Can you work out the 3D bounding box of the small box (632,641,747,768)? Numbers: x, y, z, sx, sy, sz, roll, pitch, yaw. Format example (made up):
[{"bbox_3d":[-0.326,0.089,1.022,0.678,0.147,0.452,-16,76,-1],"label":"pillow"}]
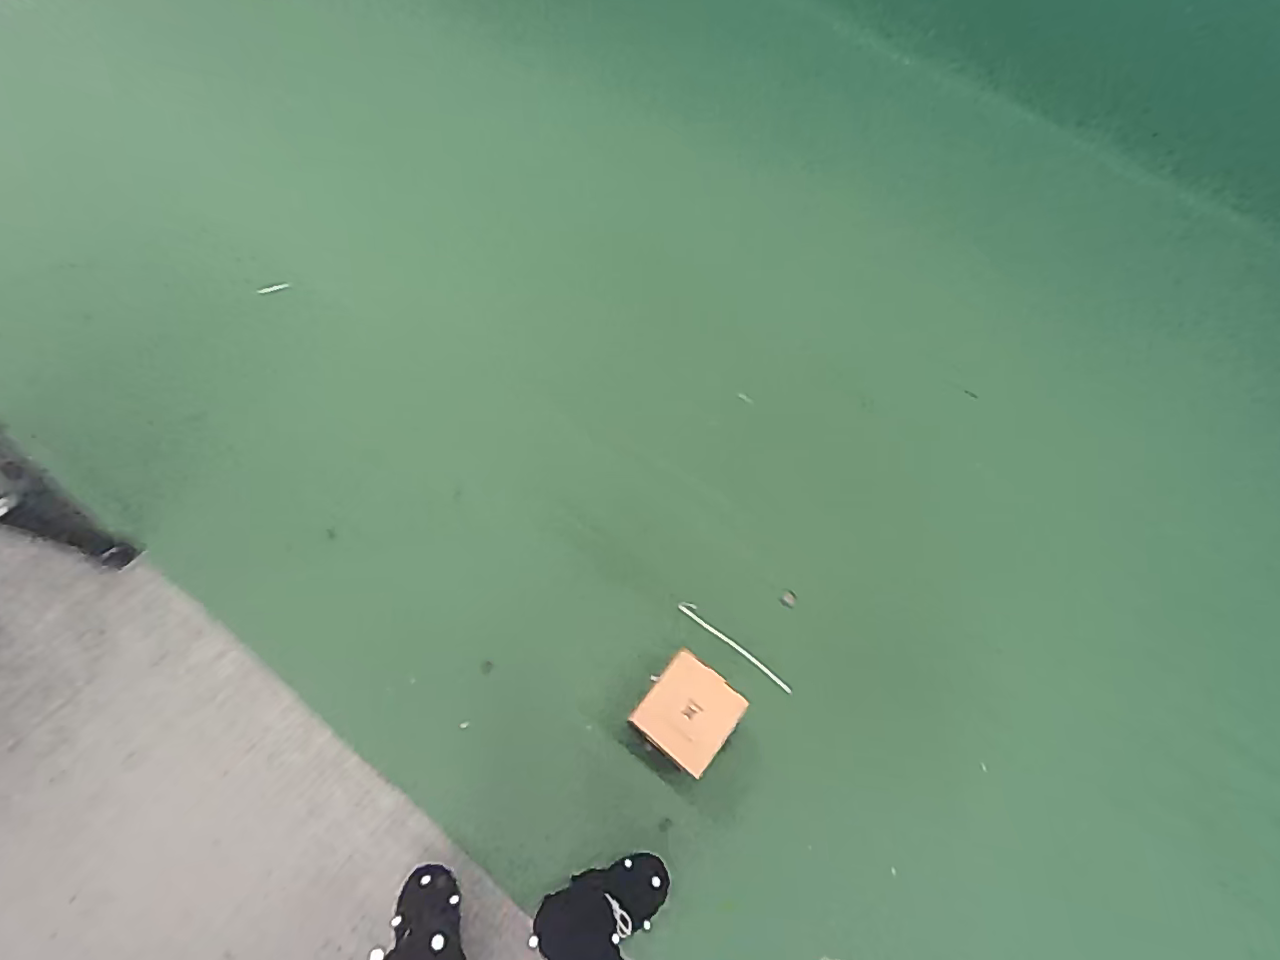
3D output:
[{"bbox_3d":[0.093,0.467,1.139,0.168,0.176,0.179,38,70,12],"label":"small box"}]
